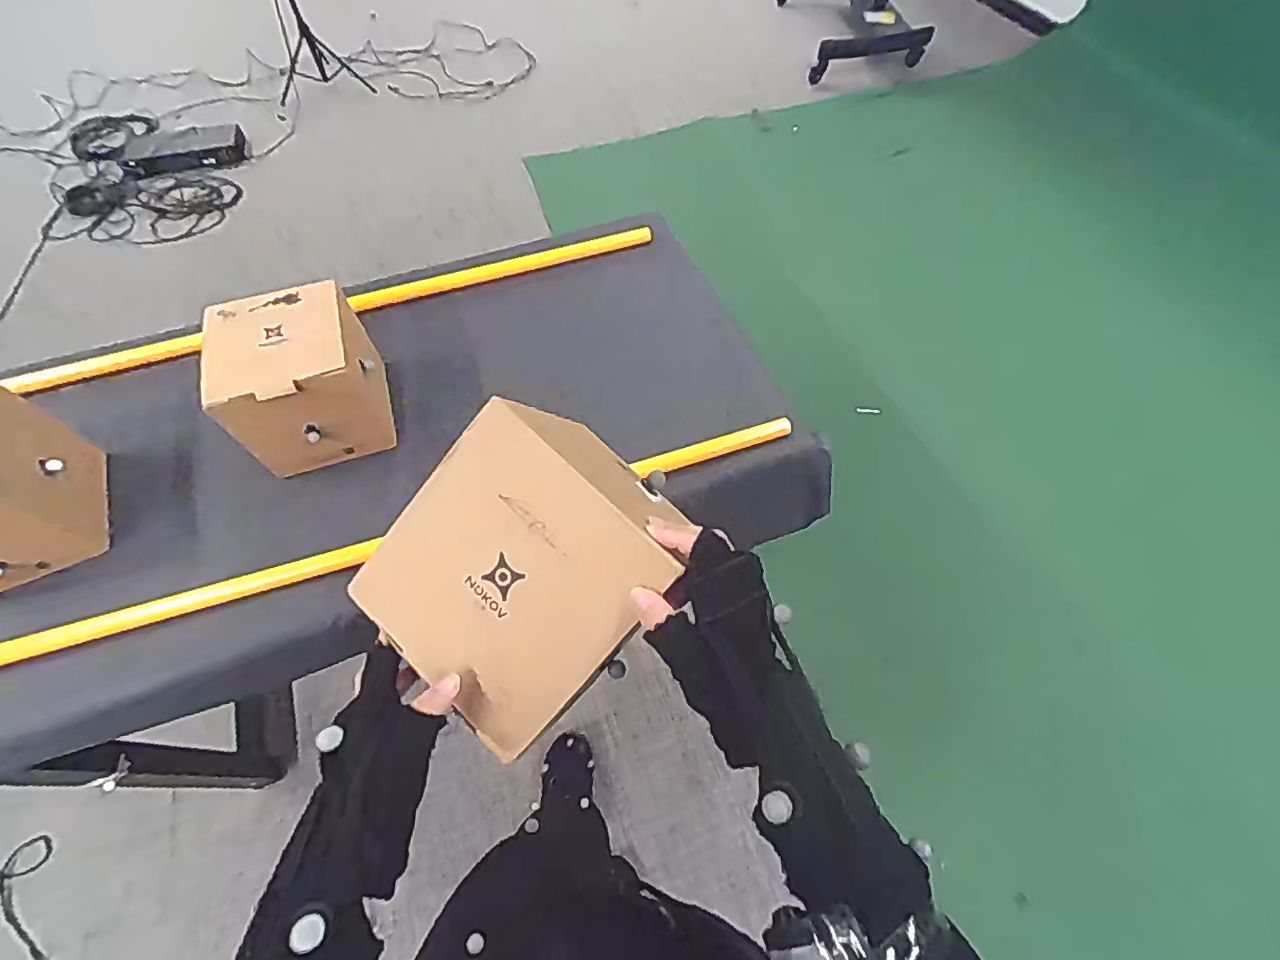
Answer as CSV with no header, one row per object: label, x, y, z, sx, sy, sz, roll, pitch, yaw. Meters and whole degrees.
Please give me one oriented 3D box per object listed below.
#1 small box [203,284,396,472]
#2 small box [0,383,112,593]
small box,-0.461,-0.132,0.751,0.168,0.176,0.179,-21,61,-11
small box,-0.799,0.019,0.657,0.168,0.176,0.179,-24,63,-14
